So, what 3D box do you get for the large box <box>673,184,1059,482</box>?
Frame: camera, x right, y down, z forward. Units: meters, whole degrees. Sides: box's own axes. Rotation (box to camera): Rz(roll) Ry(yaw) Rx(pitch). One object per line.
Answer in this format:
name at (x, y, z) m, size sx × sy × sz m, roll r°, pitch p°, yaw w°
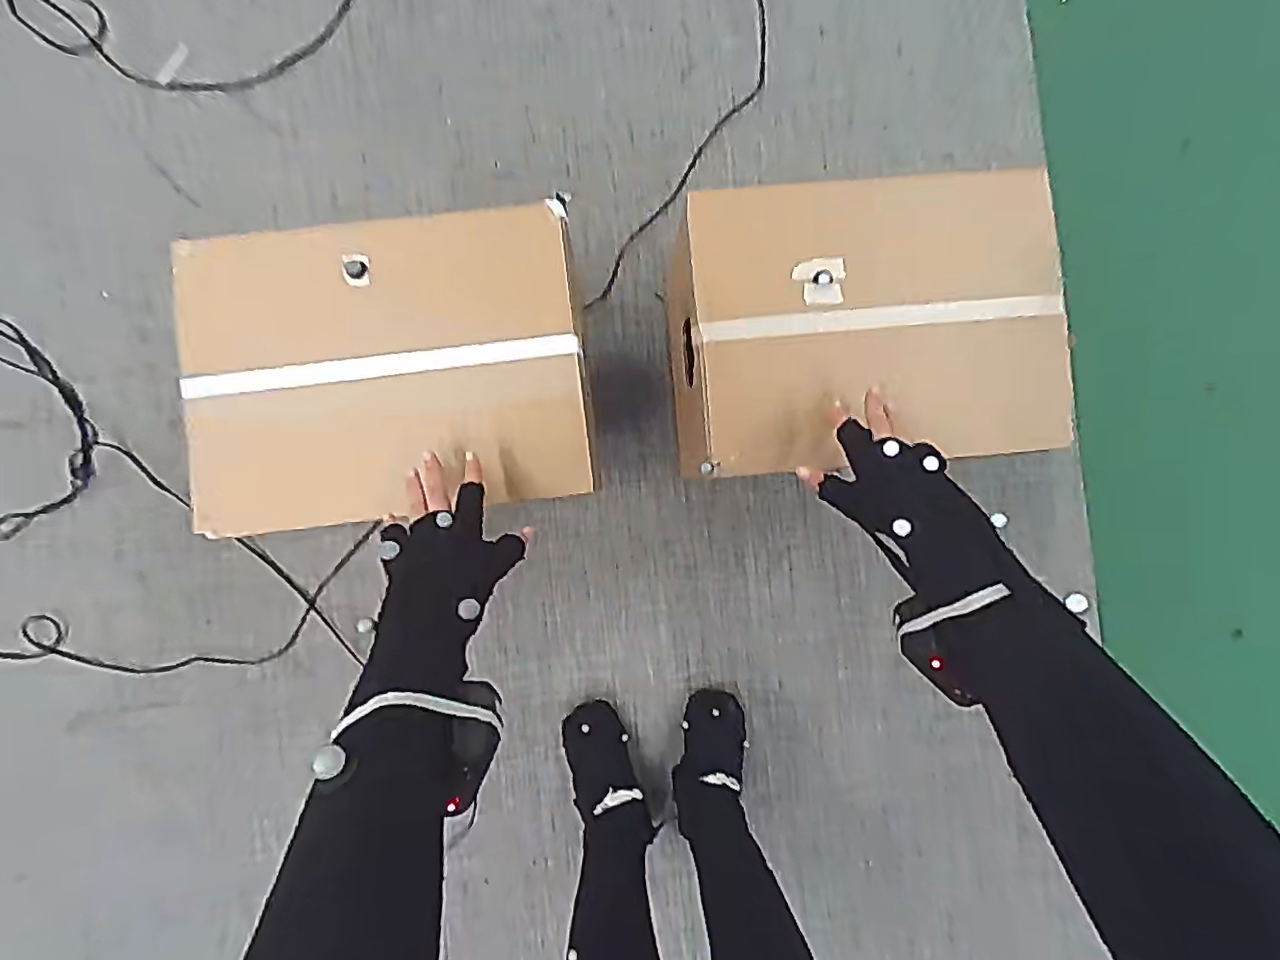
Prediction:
large box at (0.267, -0.168, 0.759) m, size 0.408 × 0.320 × 0.320 m, roll -4°, pitch 90°, yaw -1°
